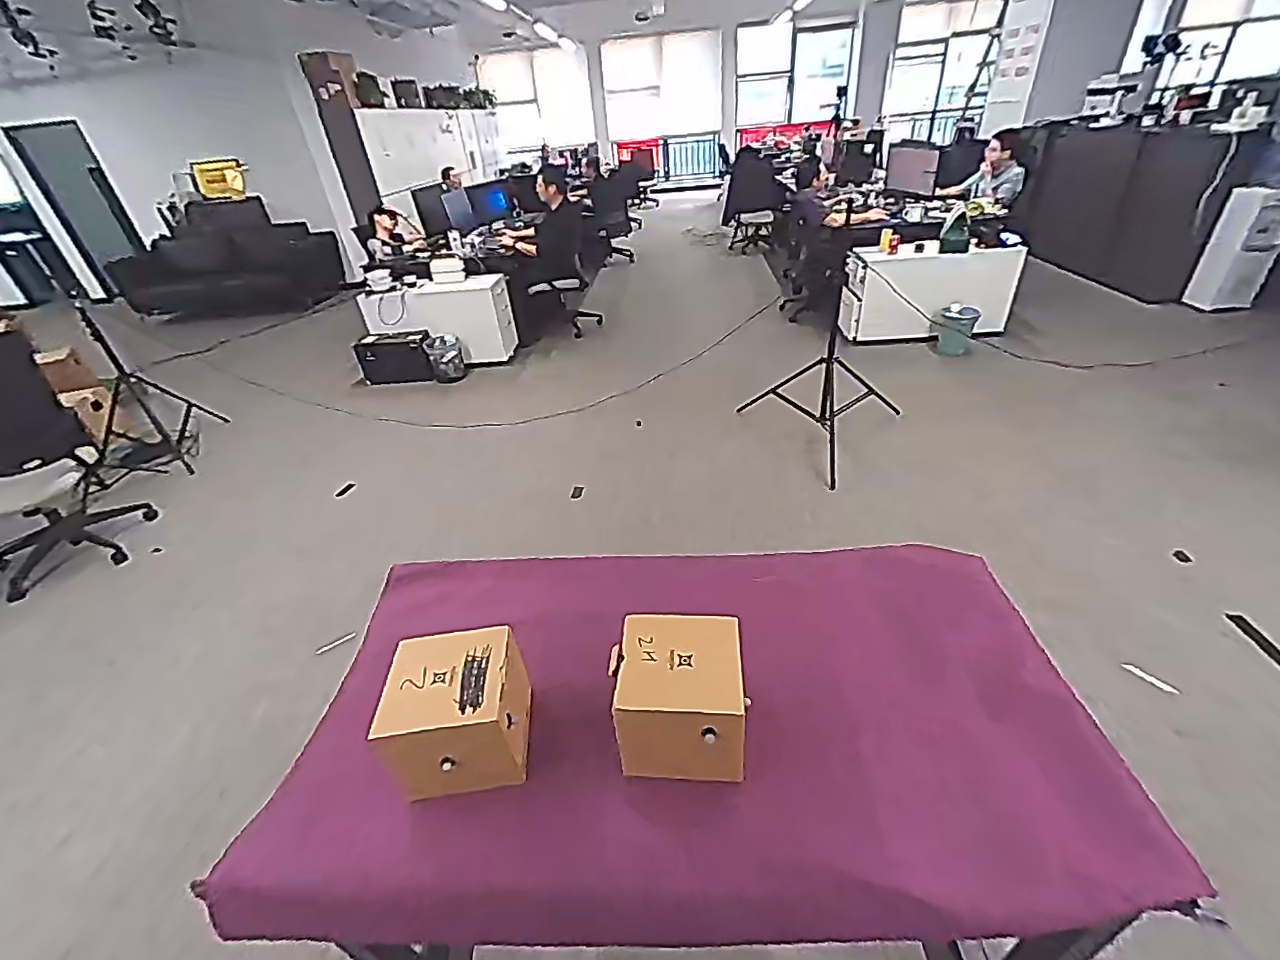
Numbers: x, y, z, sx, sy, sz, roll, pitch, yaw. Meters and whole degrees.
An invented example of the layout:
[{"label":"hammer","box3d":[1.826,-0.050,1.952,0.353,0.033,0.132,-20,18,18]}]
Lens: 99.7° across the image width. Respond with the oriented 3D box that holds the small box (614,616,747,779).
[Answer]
[{"label":"small box","box3d":[0.065,0.325,0.813,0.179,0.176,0.168,-2,33,7]}]
